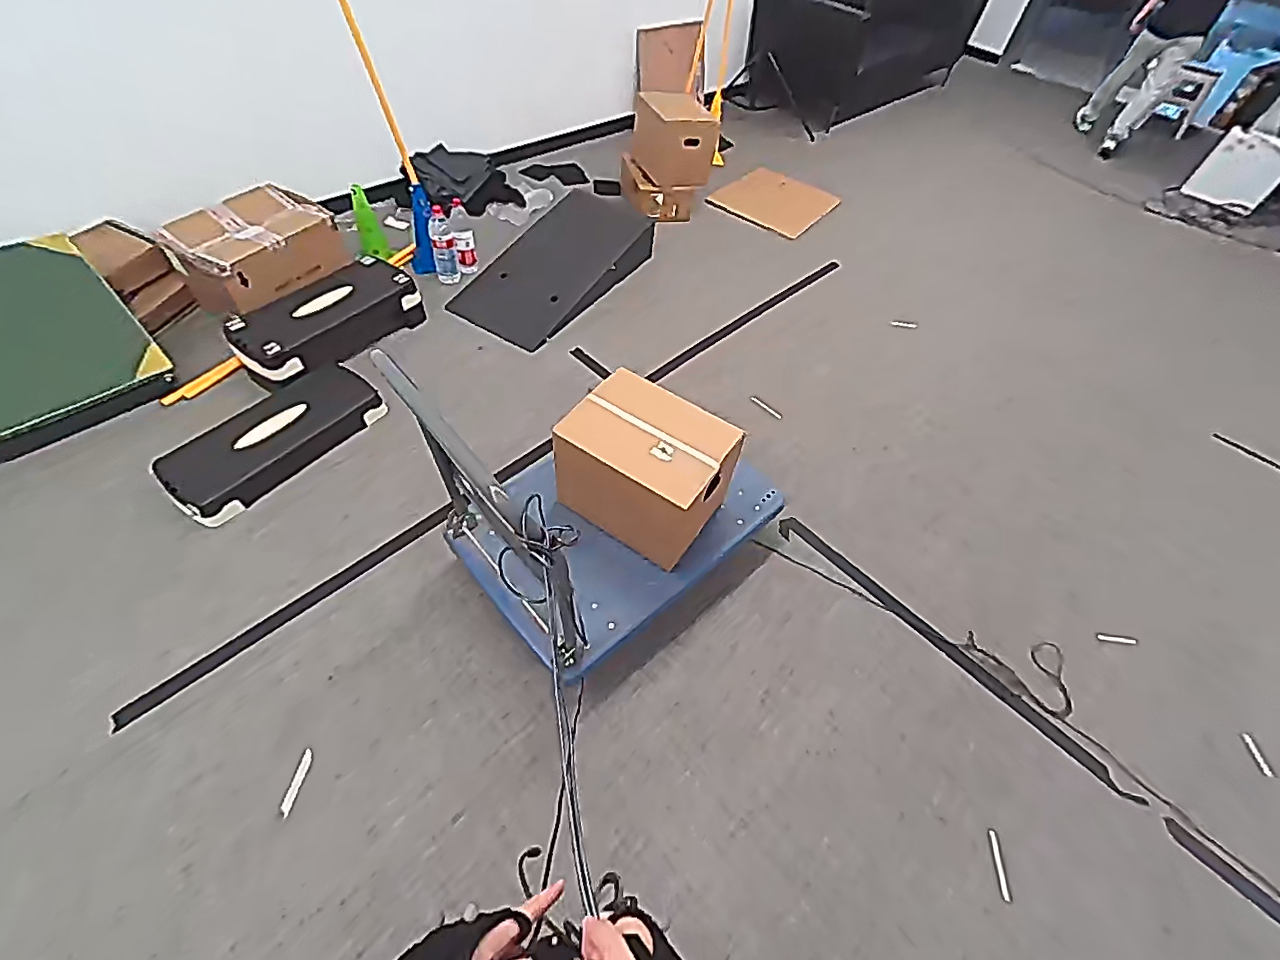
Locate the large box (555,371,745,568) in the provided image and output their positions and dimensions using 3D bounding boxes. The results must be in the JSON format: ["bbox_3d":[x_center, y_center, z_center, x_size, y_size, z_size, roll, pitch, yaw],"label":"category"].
[{"bbox_3d":[0.013,-0.030,1.502,0.408,0.320,0.320,31,56,16],"label":"large box"}]
